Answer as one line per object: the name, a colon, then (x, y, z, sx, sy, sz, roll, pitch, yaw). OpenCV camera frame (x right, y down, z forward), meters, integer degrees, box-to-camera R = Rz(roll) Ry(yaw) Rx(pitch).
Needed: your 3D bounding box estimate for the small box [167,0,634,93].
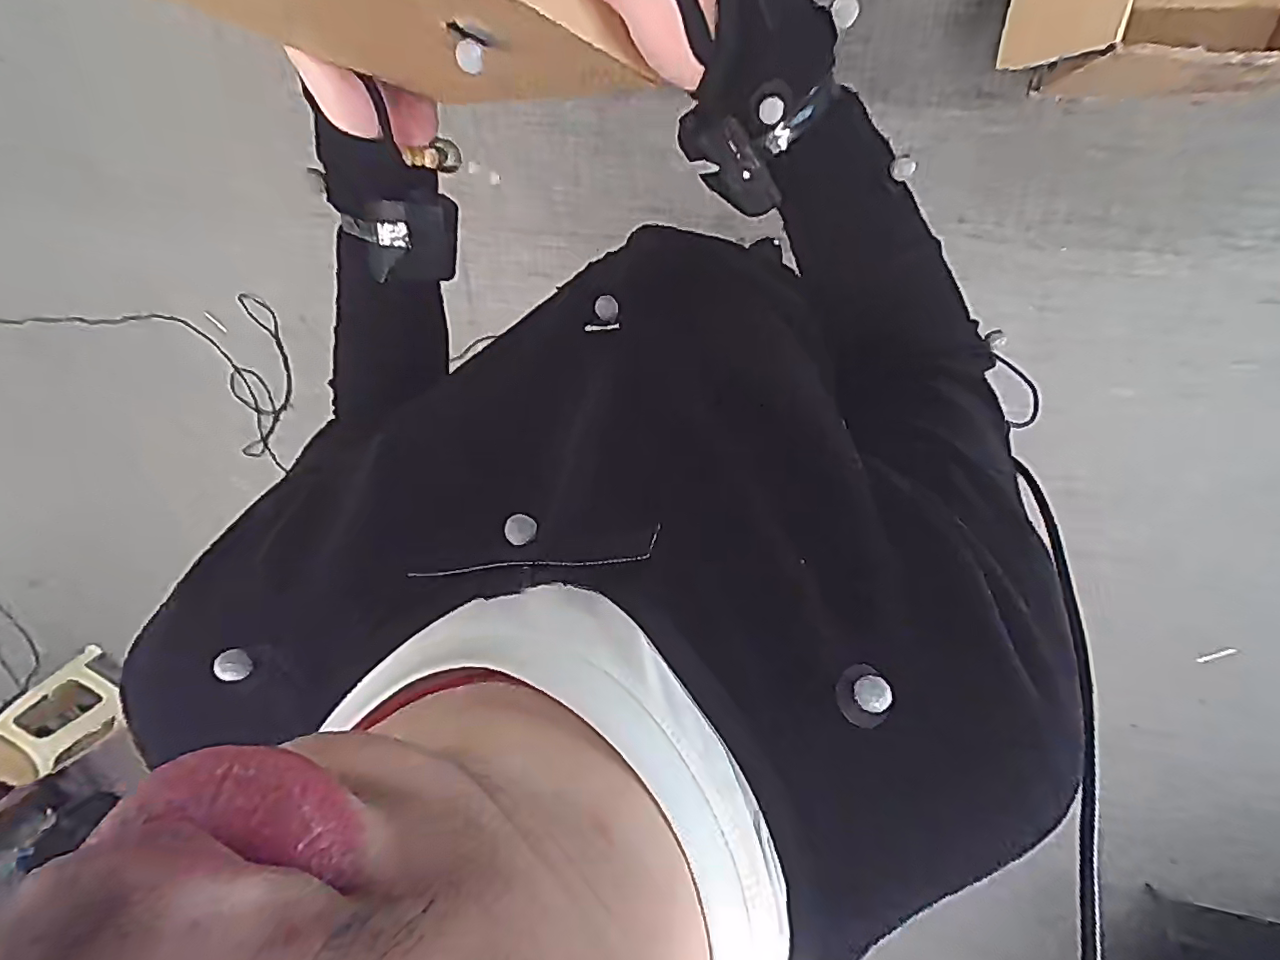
small box: (-0.104, -0.284, 0.220, 0.179, 0.176, 0.168, 19, 114, 31)
